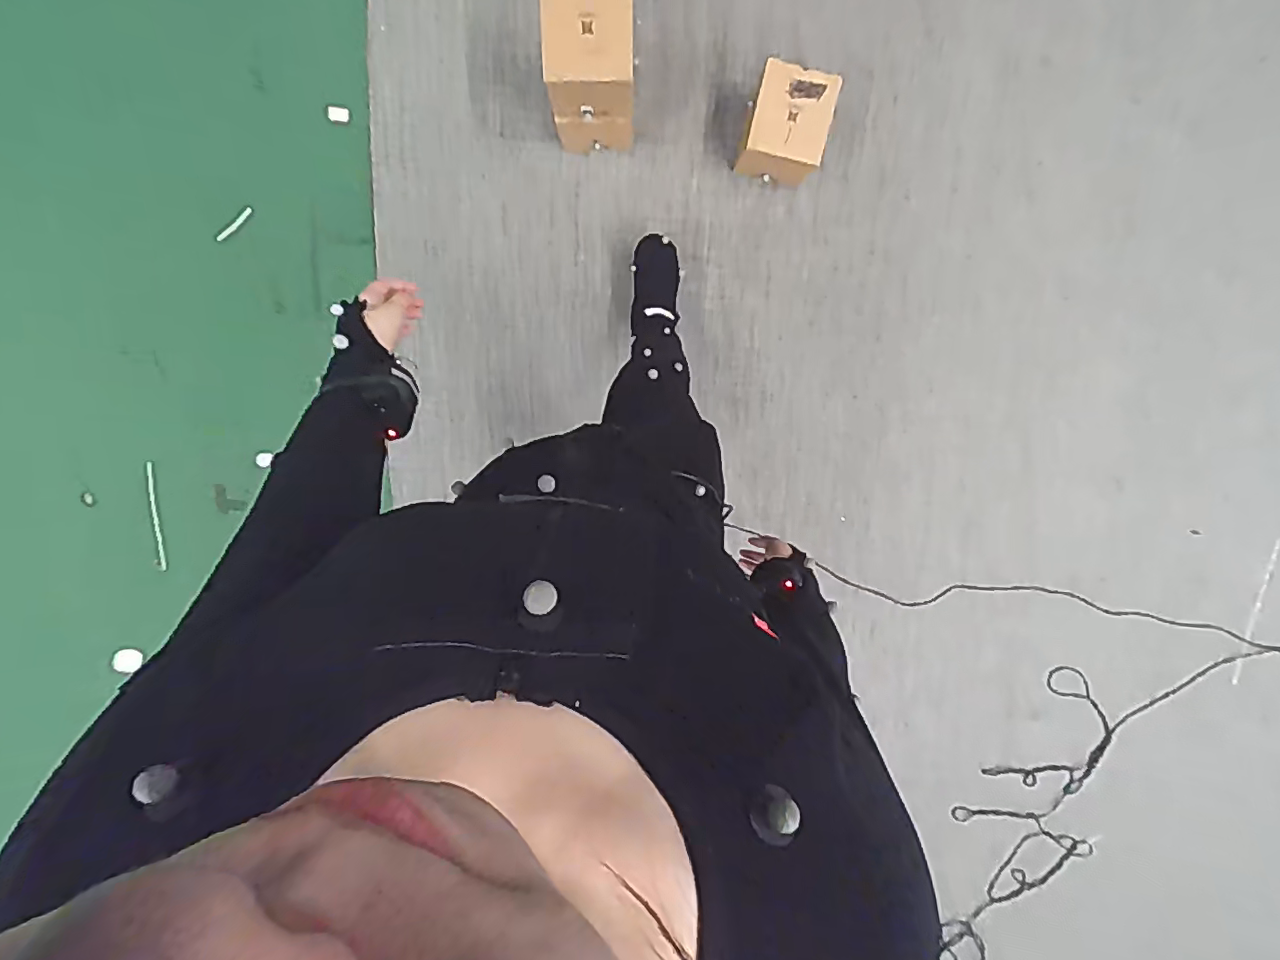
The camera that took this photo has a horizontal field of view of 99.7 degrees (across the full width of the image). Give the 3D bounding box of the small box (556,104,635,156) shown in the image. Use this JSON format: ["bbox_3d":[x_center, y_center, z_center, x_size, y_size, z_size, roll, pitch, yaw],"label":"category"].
[{"bbox_3d":[-0.095,-0.842,1.193,0.168,0.176,0.179,-1,103,-1],"label":"small box"}]

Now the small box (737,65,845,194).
[{"bbox_3d":[0.327,-0.775,1.213,0.168,0.176,0.179,13,103,-3],"label":"small box"}]

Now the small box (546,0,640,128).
[{"bbox_3d":[-0.085,-0.810,1.037,0.168,0.176,0.179,1,101,1],"label":"small box"}]
